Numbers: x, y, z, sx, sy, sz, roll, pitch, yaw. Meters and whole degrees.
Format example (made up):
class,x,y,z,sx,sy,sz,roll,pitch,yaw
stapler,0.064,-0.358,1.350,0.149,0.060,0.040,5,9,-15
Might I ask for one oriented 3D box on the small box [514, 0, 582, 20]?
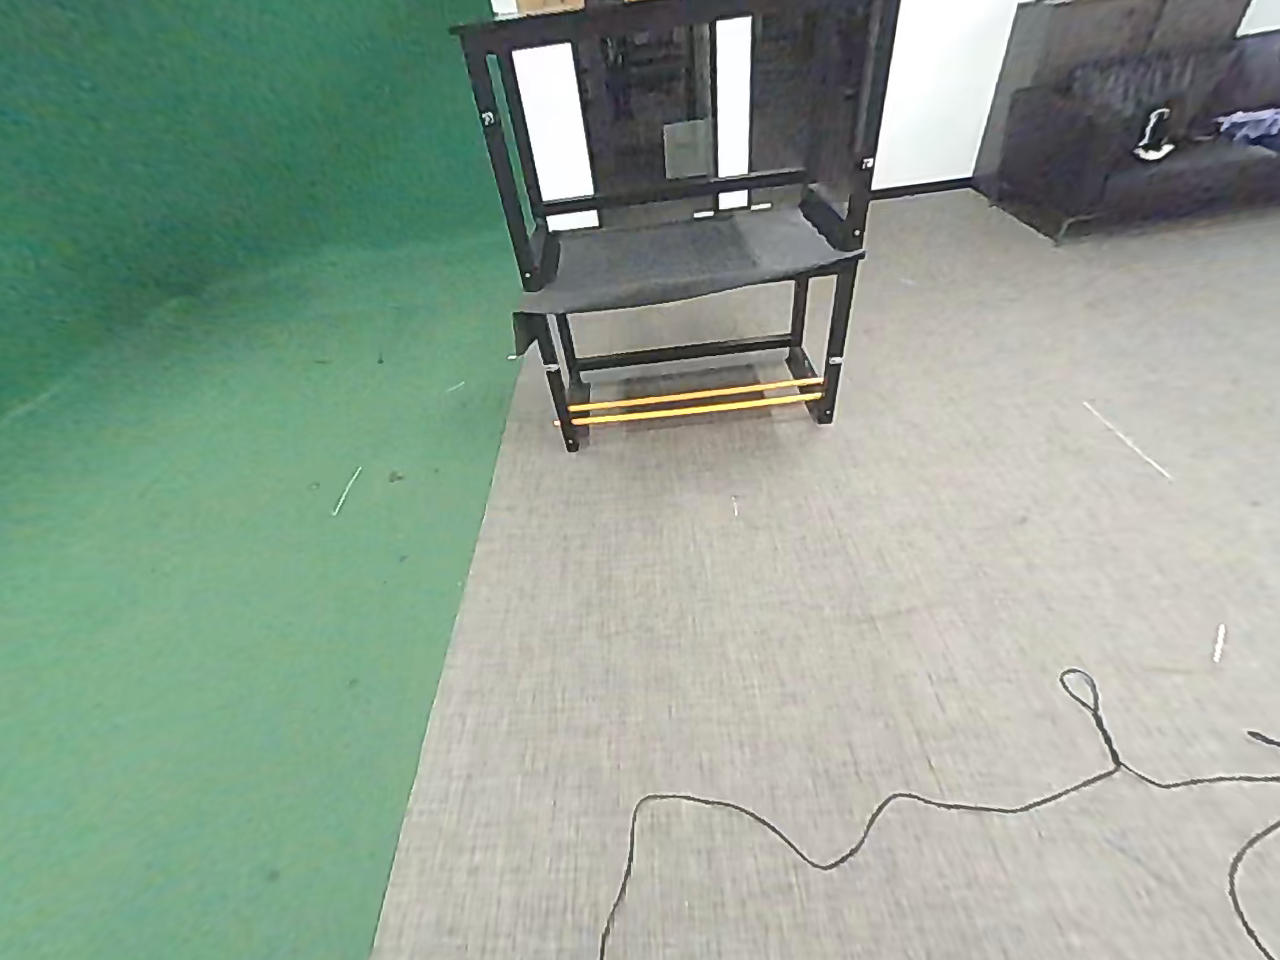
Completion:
class,x,y,z,sx,sy,sz,roll,pitch,yaw
small box,-0.269,-1.393,1.499,0.168,0.176,0.179,-16,44,-9
